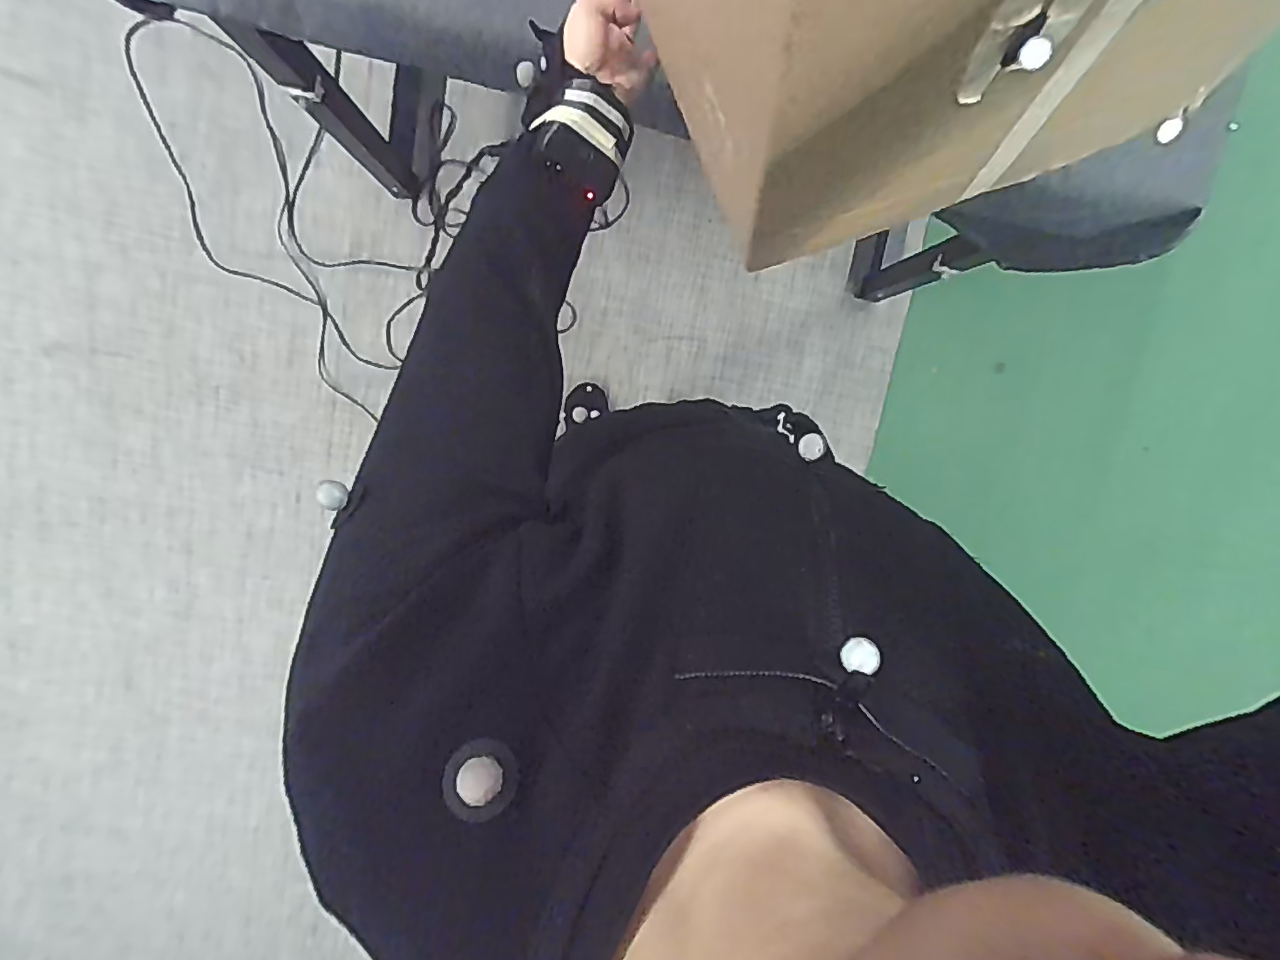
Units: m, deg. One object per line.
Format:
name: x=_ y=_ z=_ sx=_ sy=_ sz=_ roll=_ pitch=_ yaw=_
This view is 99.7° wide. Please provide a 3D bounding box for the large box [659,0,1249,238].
large box: x=0.151 y=-0.382 z=0.198 sx=0.320 sy=0.408 sz=0.320 roll=-20 pitch=83 yaw=3
